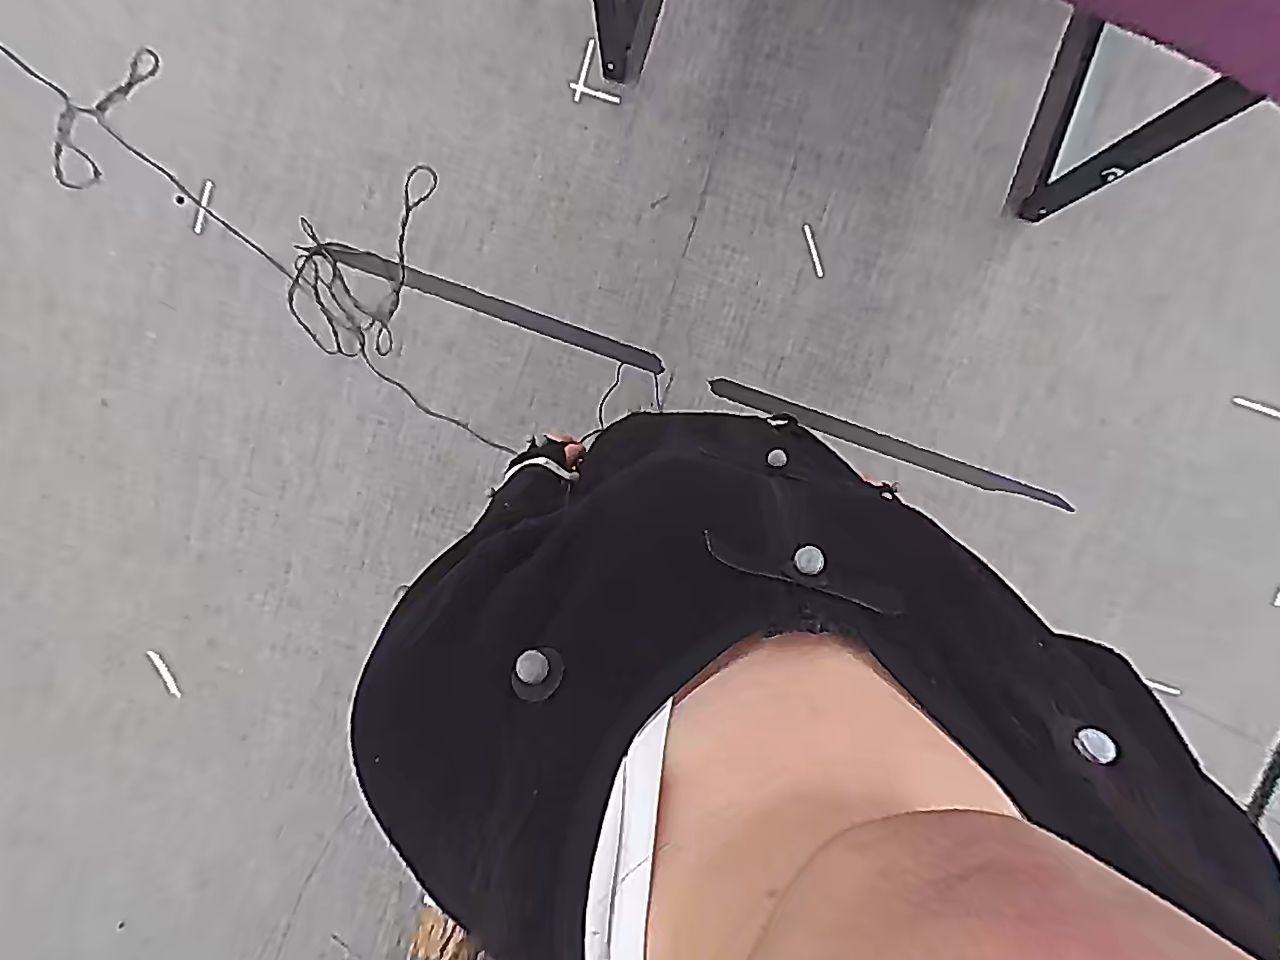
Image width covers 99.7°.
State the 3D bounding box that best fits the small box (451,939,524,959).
[{"bbox_3d":[-0.326,1.068,1.066,0.168,0.176,0.179,16,96,0],"label":"small box"}]
